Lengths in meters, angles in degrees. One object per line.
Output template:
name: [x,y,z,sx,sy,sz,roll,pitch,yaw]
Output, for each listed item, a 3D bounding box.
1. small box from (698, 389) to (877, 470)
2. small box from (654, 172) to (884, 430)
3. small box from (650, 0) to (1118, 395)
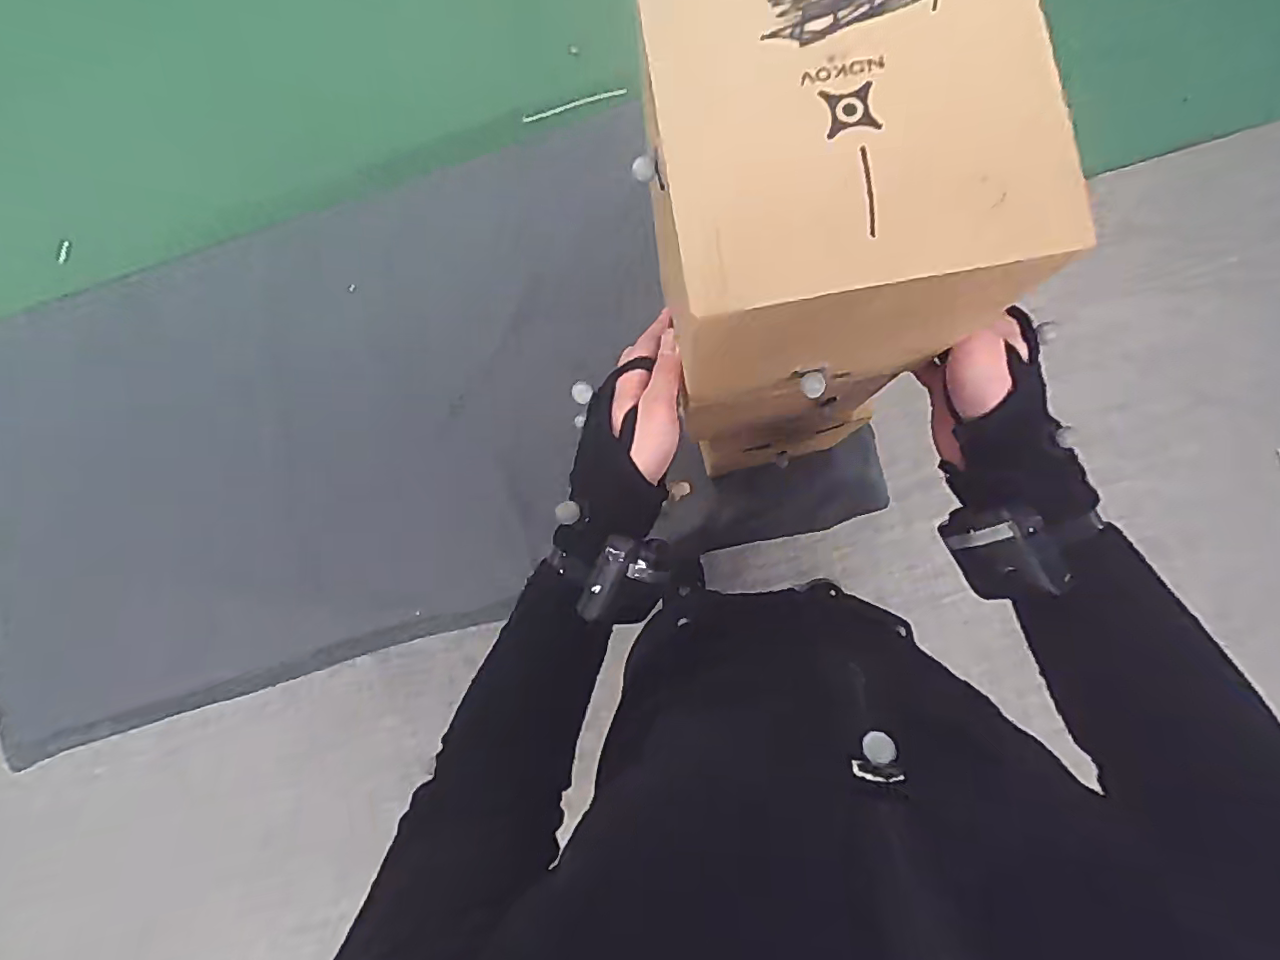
small box: [0.144,-0.114,0.621,0.168,0.176,0.179,-14,82,4]
small box: [0.109,-0.148,0.464,0.168,0.176,0.179,-9,81,4]
small box: [0.097,-0.163,0.301,0.168,0.176,0.179,-9,83,4]
